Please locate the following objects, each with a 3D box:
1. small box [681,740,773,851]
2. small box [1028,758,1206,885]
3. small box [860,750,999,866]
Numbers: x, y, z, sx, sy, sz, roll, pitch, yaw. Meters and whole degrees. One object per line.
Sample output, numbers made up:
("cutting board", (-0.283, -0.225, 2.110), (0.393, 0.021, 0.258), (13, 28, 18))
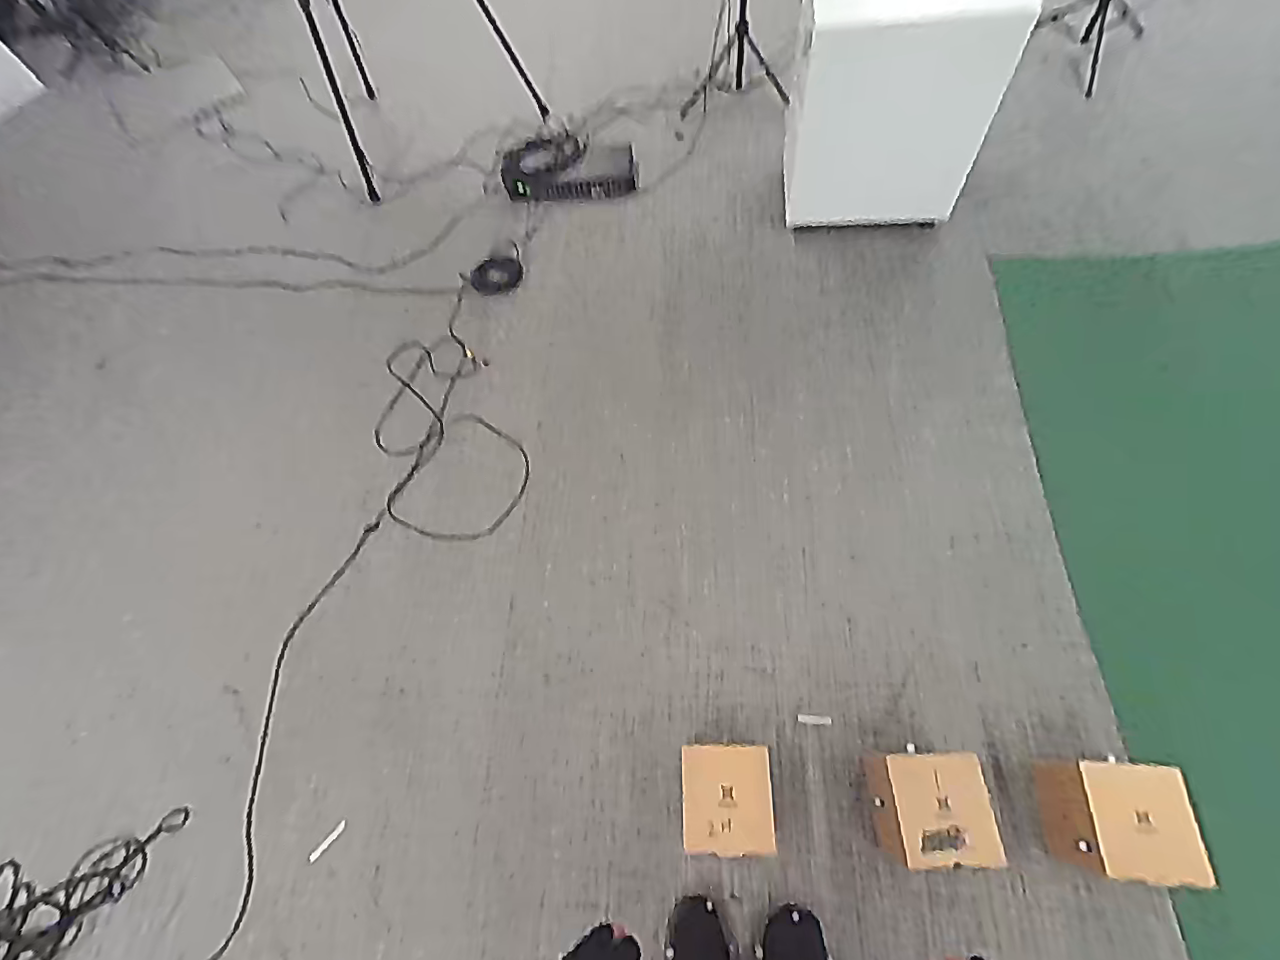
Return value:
("small box", (0.166, 0.615, 1.071), (0.168, 0.176, 0.179), (-2, 64, 6))
("small box", (0.861, 0.619, 1.001), (0.168, 0.176, 0.179), (1, 64, 7))
("small box", (0.539, 0.617, 1.034), (0.168, 0.176, 0.179), (-3, 63, 4))
